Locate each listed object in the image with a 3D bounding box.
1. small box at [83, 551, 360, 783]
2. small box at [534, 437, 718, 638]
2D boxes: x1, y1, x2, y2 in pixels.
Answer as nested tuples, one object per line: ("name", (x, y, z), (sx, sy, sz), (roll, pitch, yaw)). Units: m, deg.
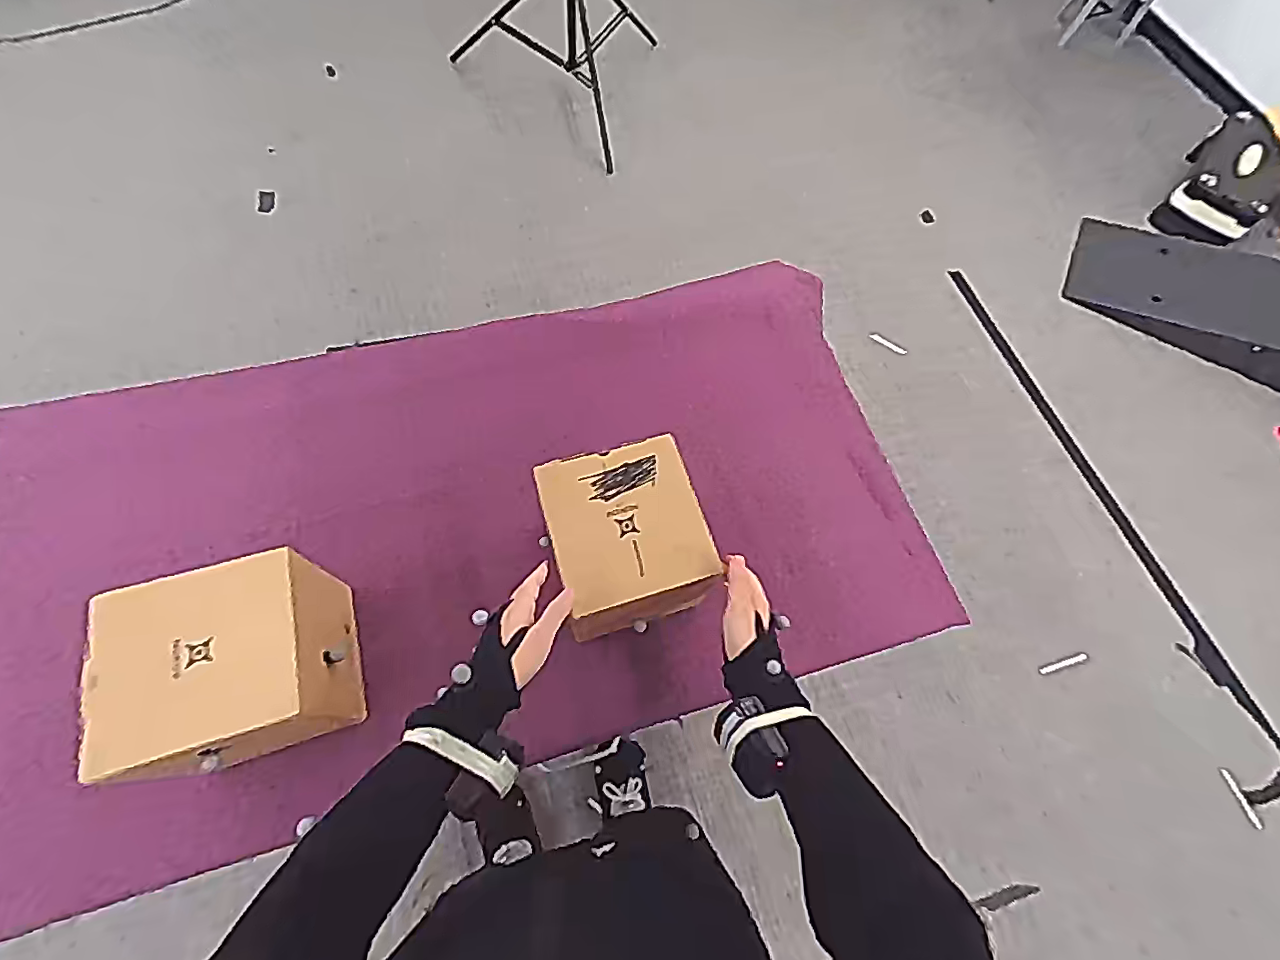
("small box", (-0.418, 0.195, 0.572), (0.179, 0.176, 0.168), (-16, 68, -11))
("small box", (-0.026, 0.076, 0.659), (0.168, 0.176, 0.179), (-15, 68, -11))
